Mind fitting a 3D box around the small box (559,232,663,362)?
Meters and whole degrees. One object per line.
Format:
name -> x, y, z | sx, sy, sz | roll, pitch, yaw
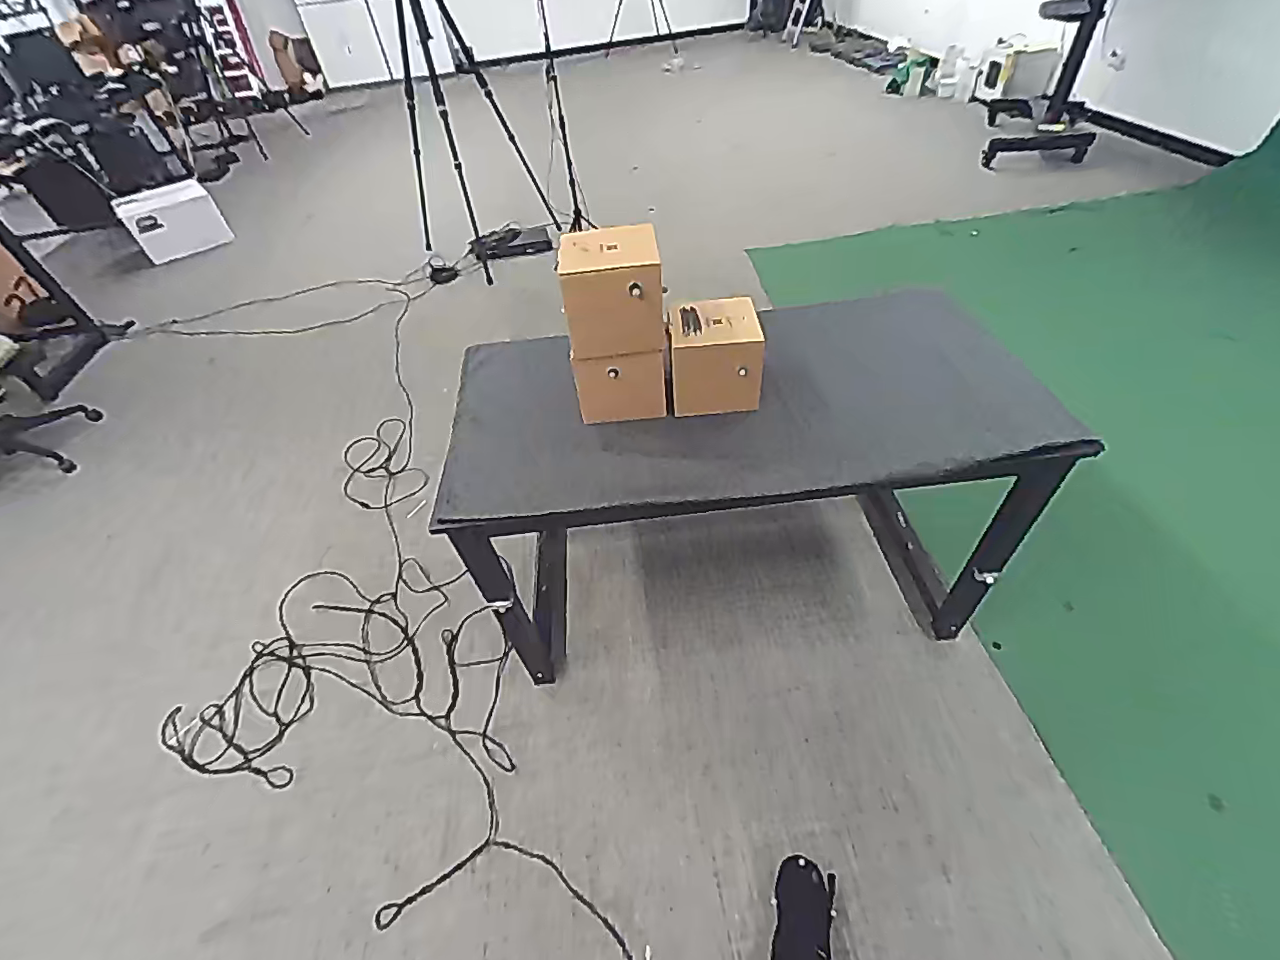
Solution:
small box -> -0.048, -0.342, 1.016 | 0.179, 0.176, 0.168 | -6, 46, 1
